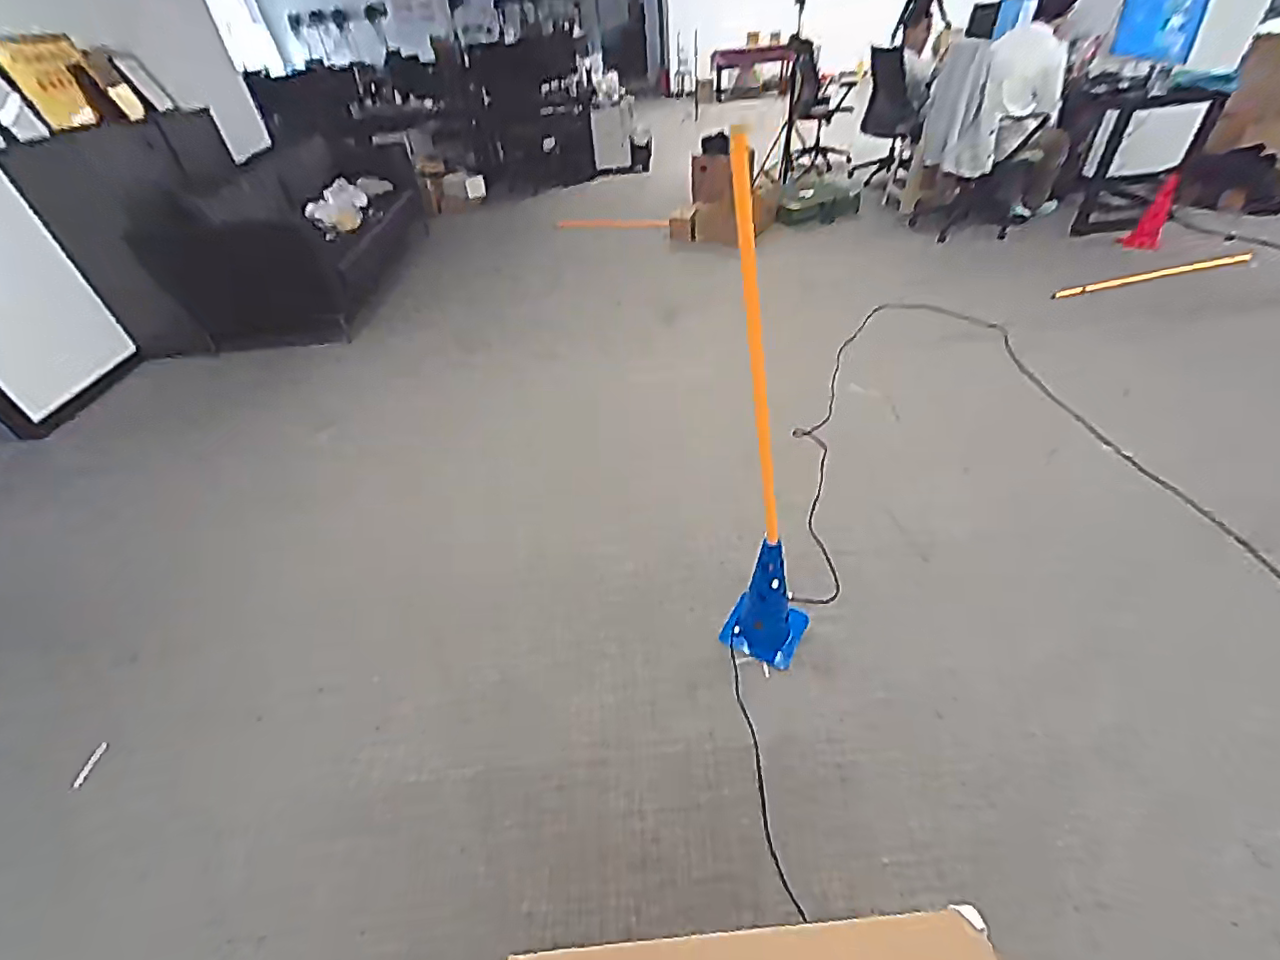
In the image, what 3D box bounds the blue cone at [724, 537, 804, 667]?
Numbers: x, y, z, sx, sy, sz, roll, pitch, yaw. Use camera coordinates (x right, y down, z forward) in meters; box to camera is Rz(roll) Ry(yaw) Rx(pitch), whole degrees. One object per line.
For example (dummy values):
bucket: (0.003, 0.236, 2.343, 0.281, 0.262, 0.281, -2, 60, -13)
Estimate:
blue cone: (0.327, 0.290, 1.383, 0.192, 0.380, 0.193, 16, 46, 26)
